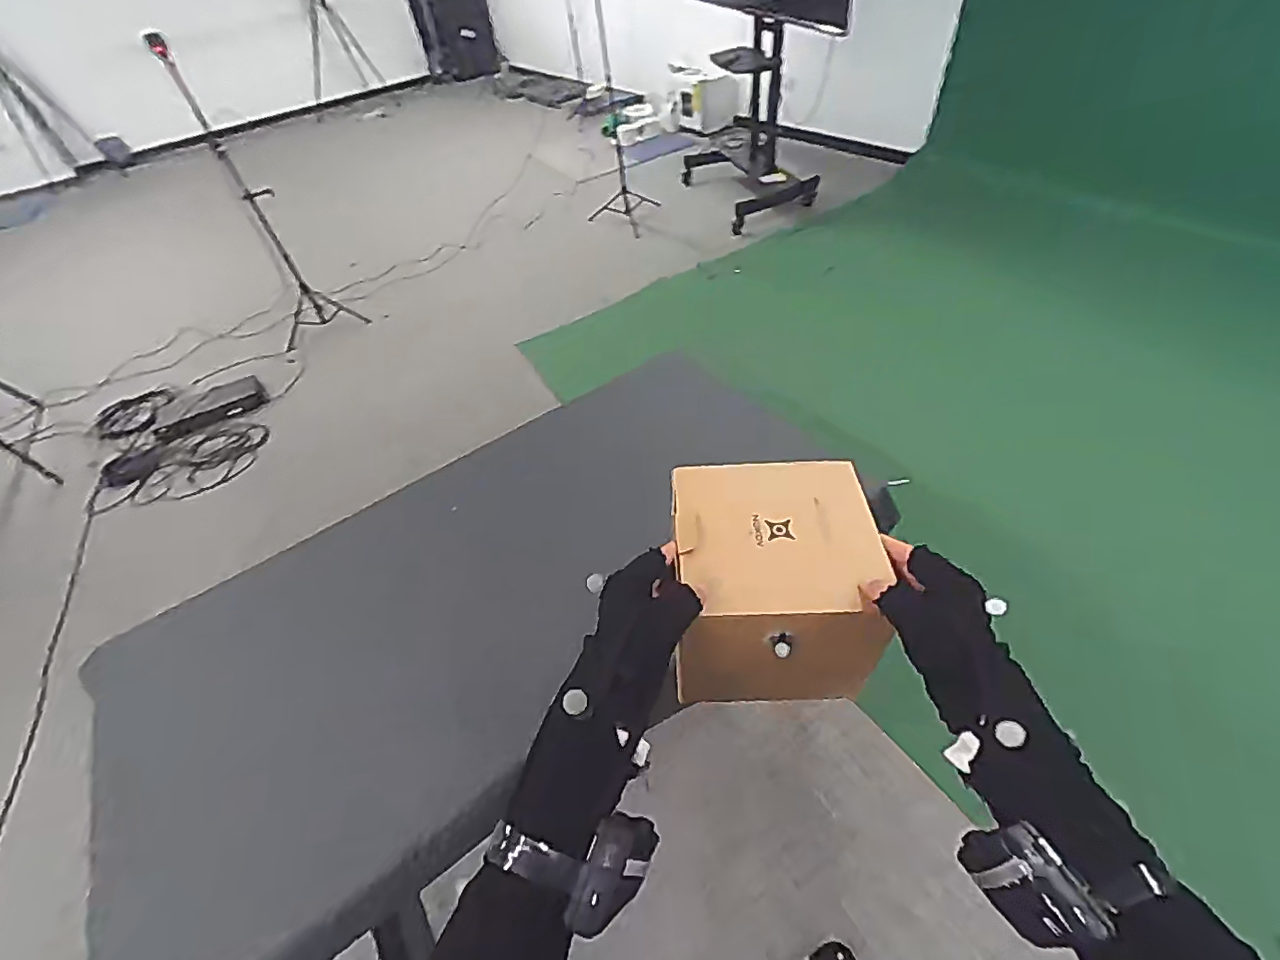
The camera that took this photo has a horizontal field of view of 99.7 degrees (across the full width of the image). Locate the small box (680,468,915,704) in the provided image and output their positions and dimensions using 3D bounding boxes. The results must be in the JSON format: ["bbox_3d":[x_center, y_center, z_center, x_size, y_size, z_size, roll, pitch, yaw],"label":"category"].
[{"bbox_3d":[0.131,0.106,0.529,0.179,0.176,0.168,-2,46,1],"label":"small box"}]
